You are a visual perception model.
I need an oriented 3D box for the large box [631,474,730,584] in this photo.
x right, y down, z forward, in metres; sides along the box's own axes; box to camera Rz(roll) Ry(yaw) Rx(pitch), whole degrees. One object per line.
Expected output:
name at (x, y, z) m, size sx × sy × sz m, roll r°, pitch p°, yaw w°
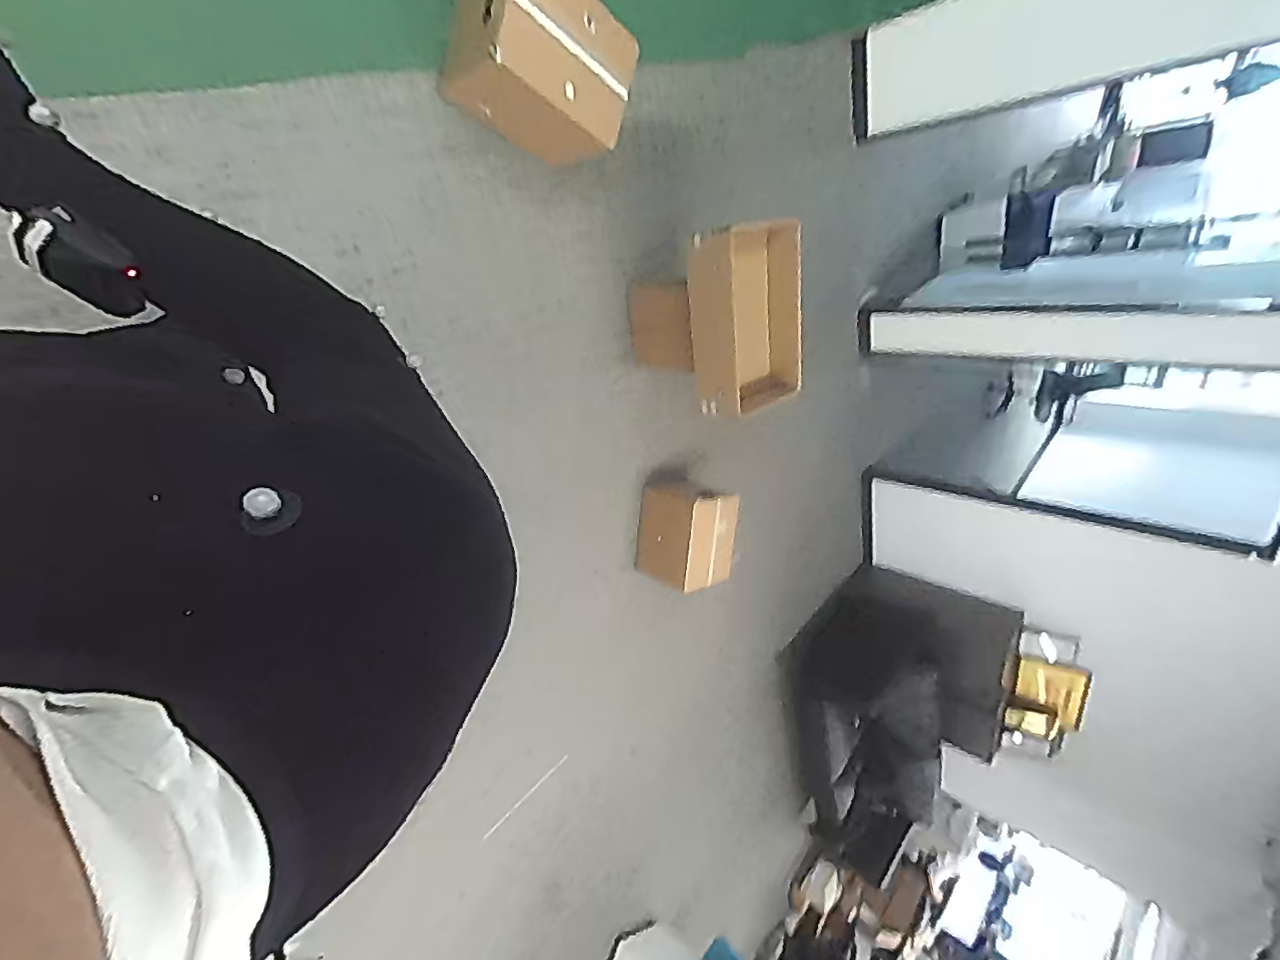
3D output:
large box at (0.178, 0.205, 2.453) m, size 0.320 × 0.320 × 0.408 m, roll -7°, pitch 107°, yaw -45°
